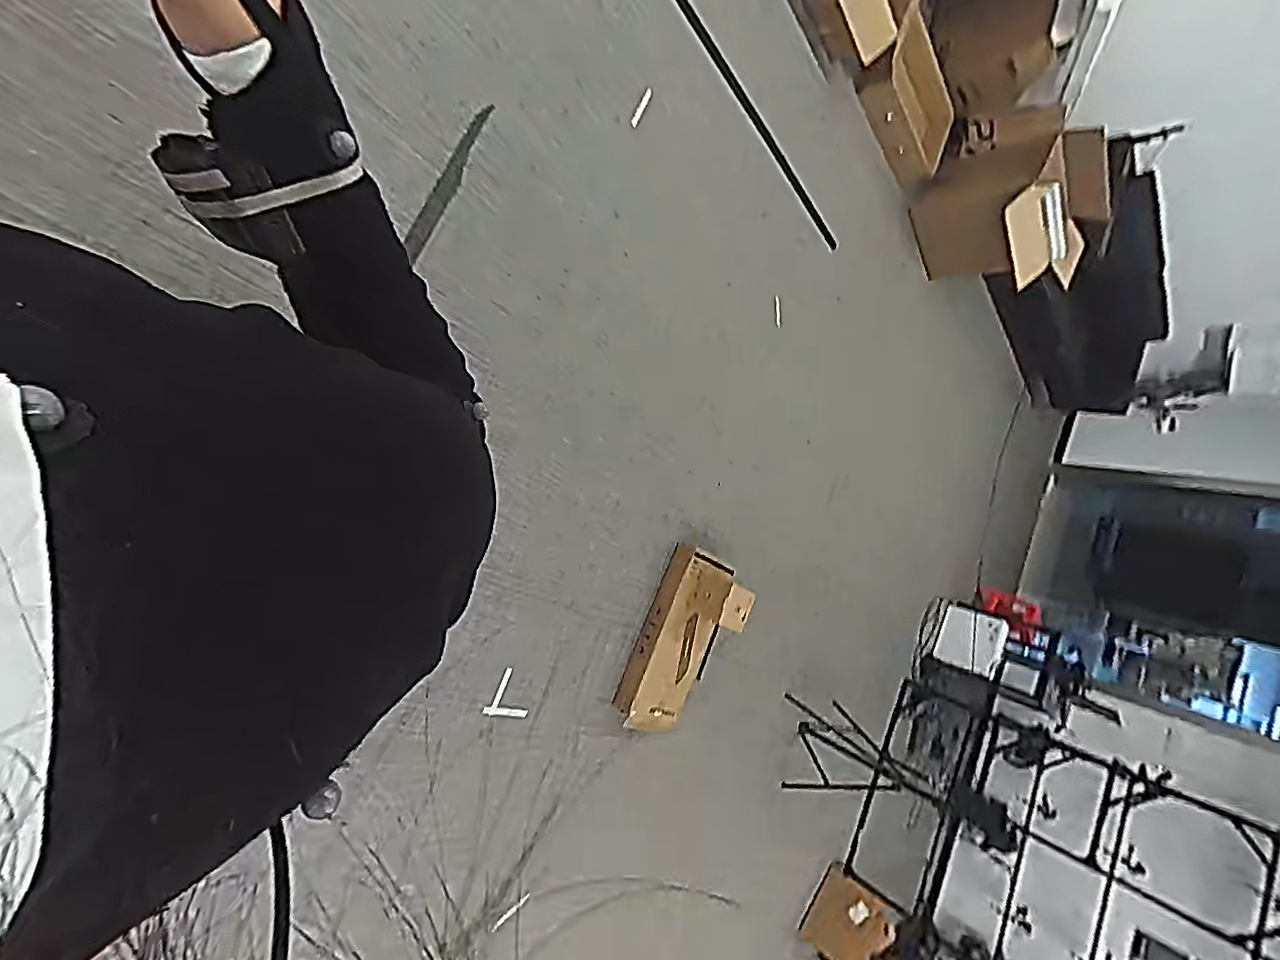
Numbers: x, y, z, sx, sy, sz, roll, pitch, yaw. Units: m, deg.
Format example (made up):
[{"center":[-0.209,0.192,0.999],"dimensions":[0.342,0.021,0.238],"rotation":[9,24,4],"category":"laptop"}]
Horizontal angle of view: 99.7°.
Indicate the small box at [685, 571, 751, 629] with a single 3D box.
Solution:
[{"center":[0.311,0.479,2.178],"dimensions":[0.179,0.176,0.168],"rotation":[33,77,-40],"category":"small box"}]
